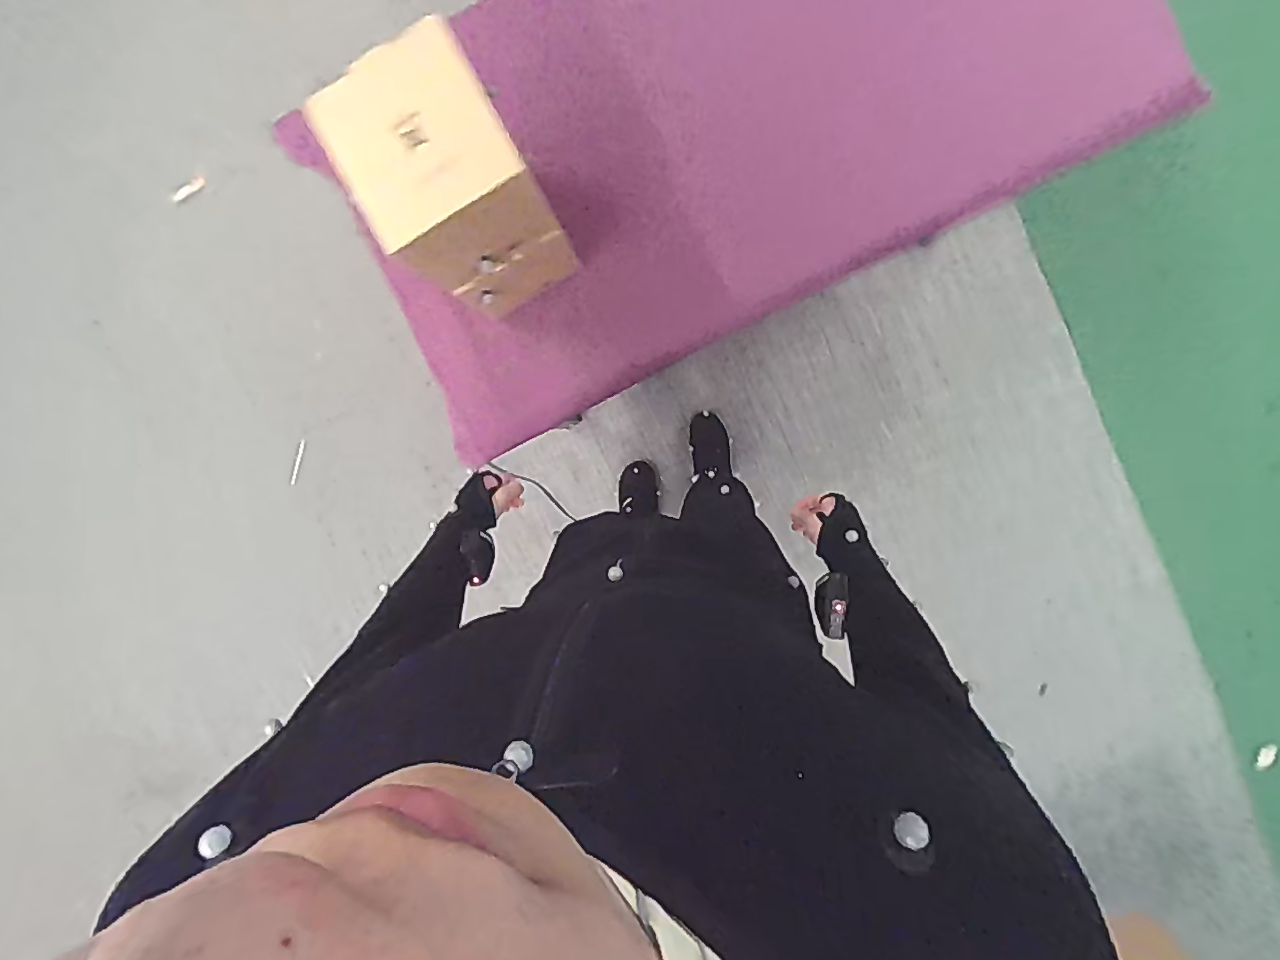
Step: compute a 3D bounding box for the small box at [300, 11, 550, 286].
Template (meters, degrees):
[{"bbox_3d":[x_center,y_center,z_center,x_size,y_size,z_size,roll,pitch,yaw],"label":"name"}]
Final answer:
[{"bbox_3d":[-0.226,-0.353,0.617,0.168,0.176,0.179,-30,94,6],"label":"small box"}]
